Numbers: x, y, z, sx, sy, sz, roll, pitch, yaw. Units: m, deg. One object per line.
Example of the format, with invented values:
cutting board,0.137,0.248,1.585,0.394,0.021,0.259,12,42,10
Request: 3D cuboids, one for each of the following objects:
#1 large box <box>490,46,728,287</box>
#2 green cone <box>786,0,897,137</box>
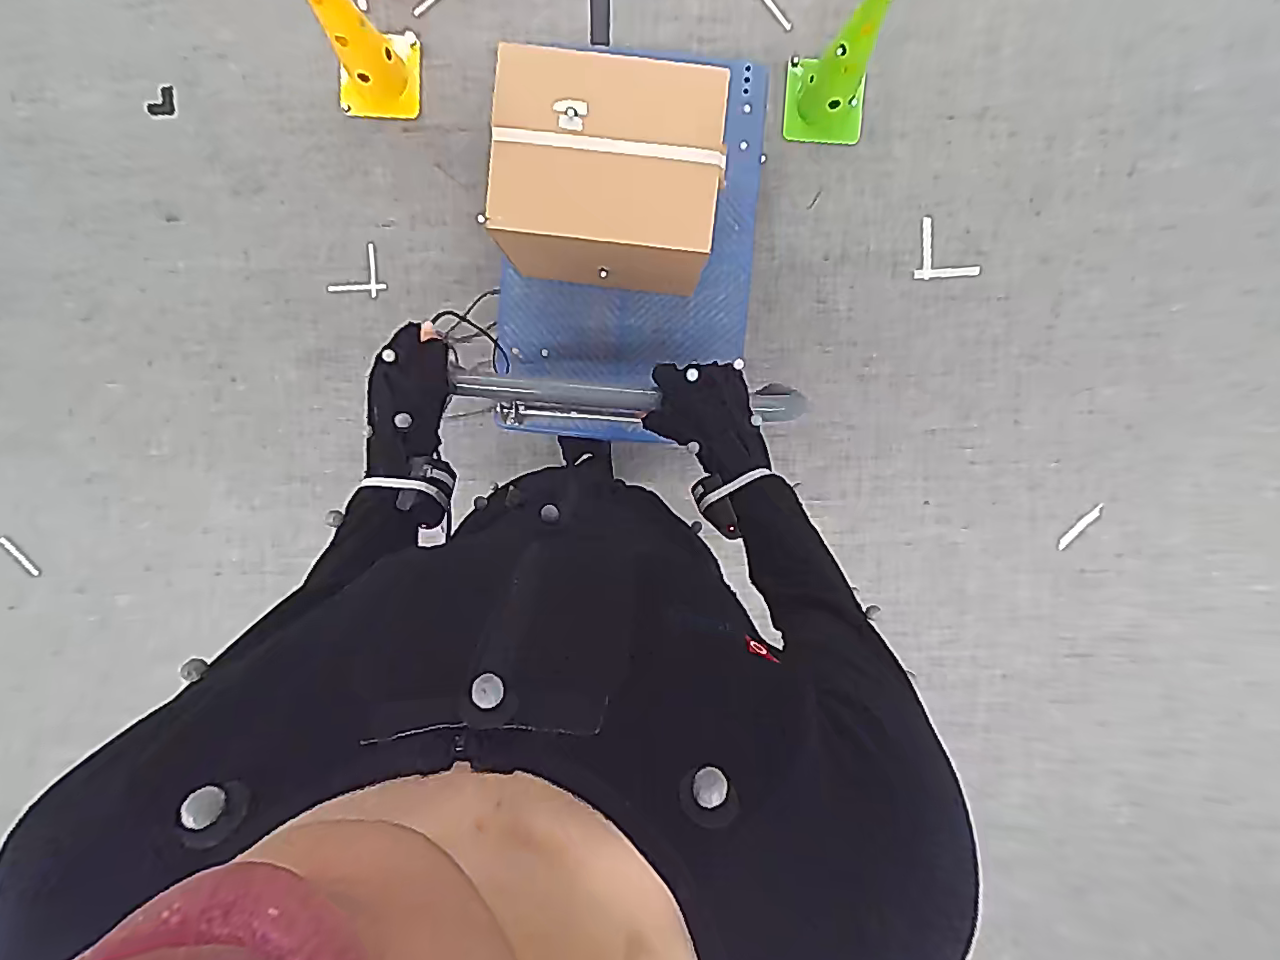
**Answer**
large box,-0.054,-0.598,1.096,0.408,0.320,0.320,6,95,0
green cone,0.478,-0.969,1.207,0.202,0.368,0.200,3,95,-1
